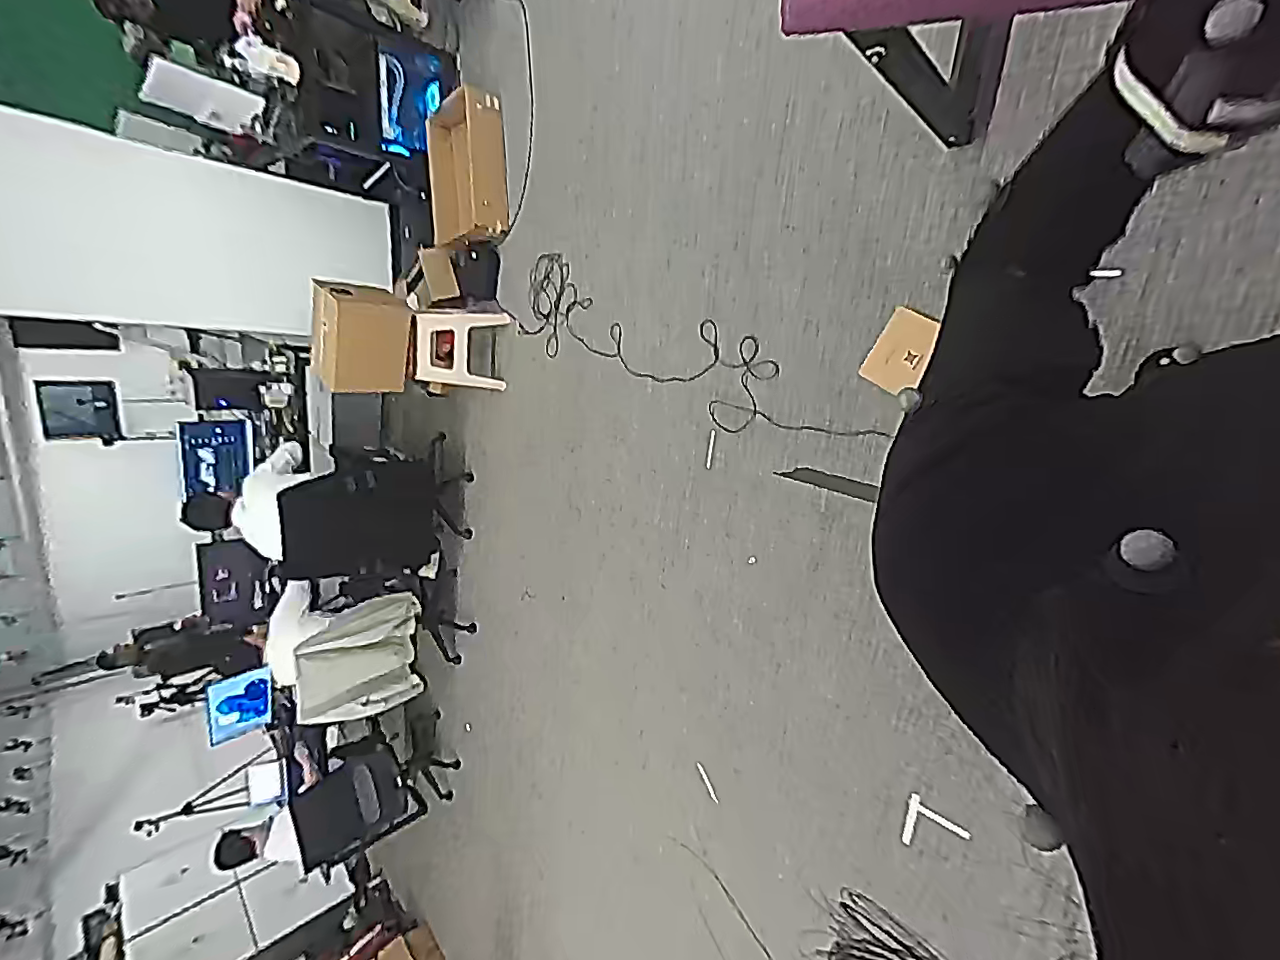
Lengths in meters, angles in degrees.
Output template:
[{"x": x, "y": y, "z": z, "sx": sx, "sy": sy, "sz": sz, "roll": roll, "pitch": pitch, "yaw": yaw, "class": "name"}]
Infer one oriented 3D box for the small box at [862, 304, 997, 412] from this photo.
[{"x": 0.631, "y": -0.263, "z": 1.173, "sx": 0.179, "sy": 0.176, "sz": 0.168, "roll": 43, "pitch": 124, "yaw": 33, "class": "small box"}]
